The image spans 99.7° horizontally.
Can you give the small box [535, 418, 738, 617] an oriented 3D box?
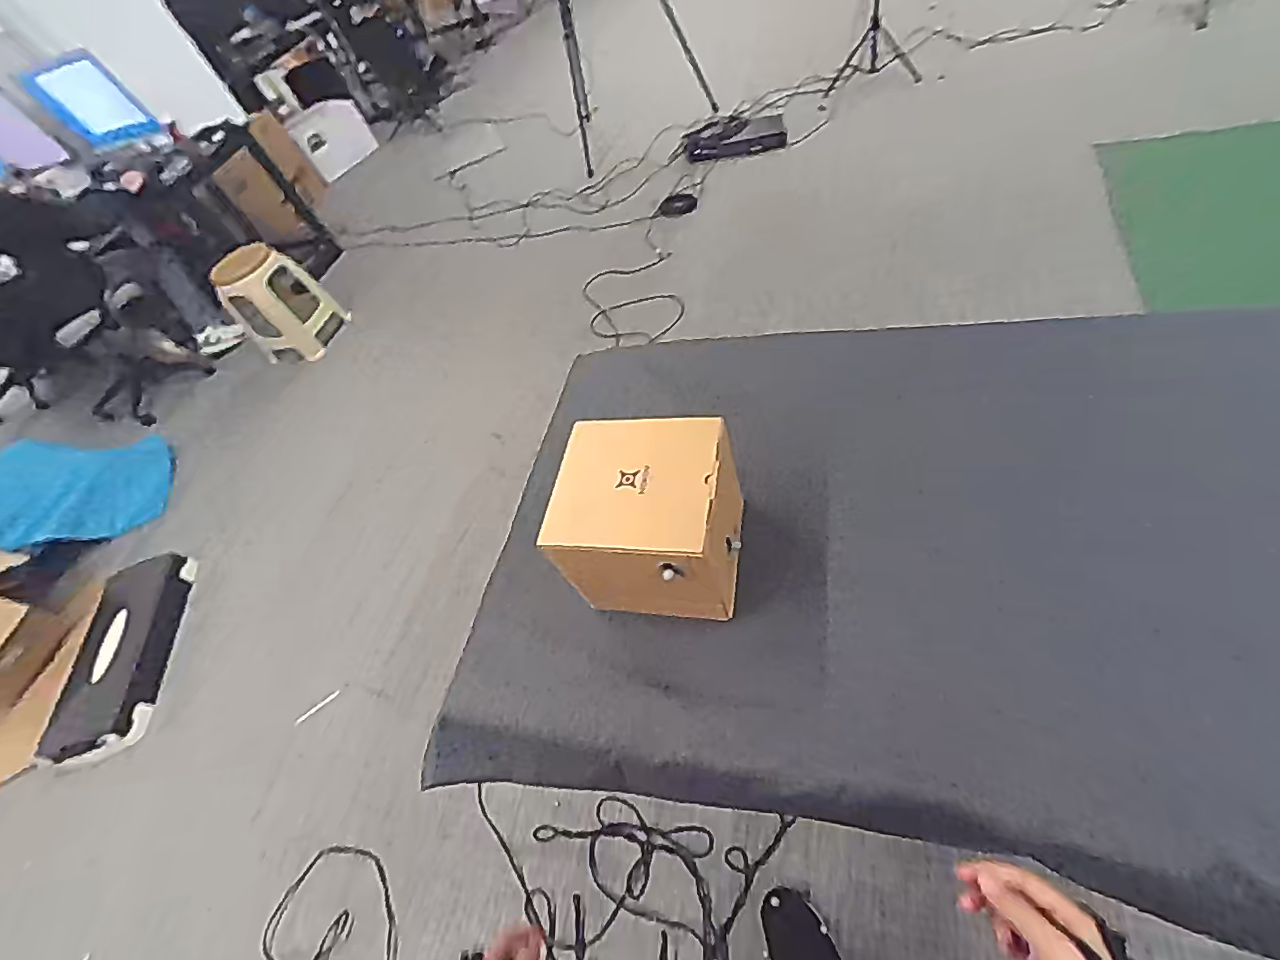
[{"bbox_3d":[0.010,0.047,0.623,0.179,0.176,0.168,0,55,18],"label":"small box"}]
